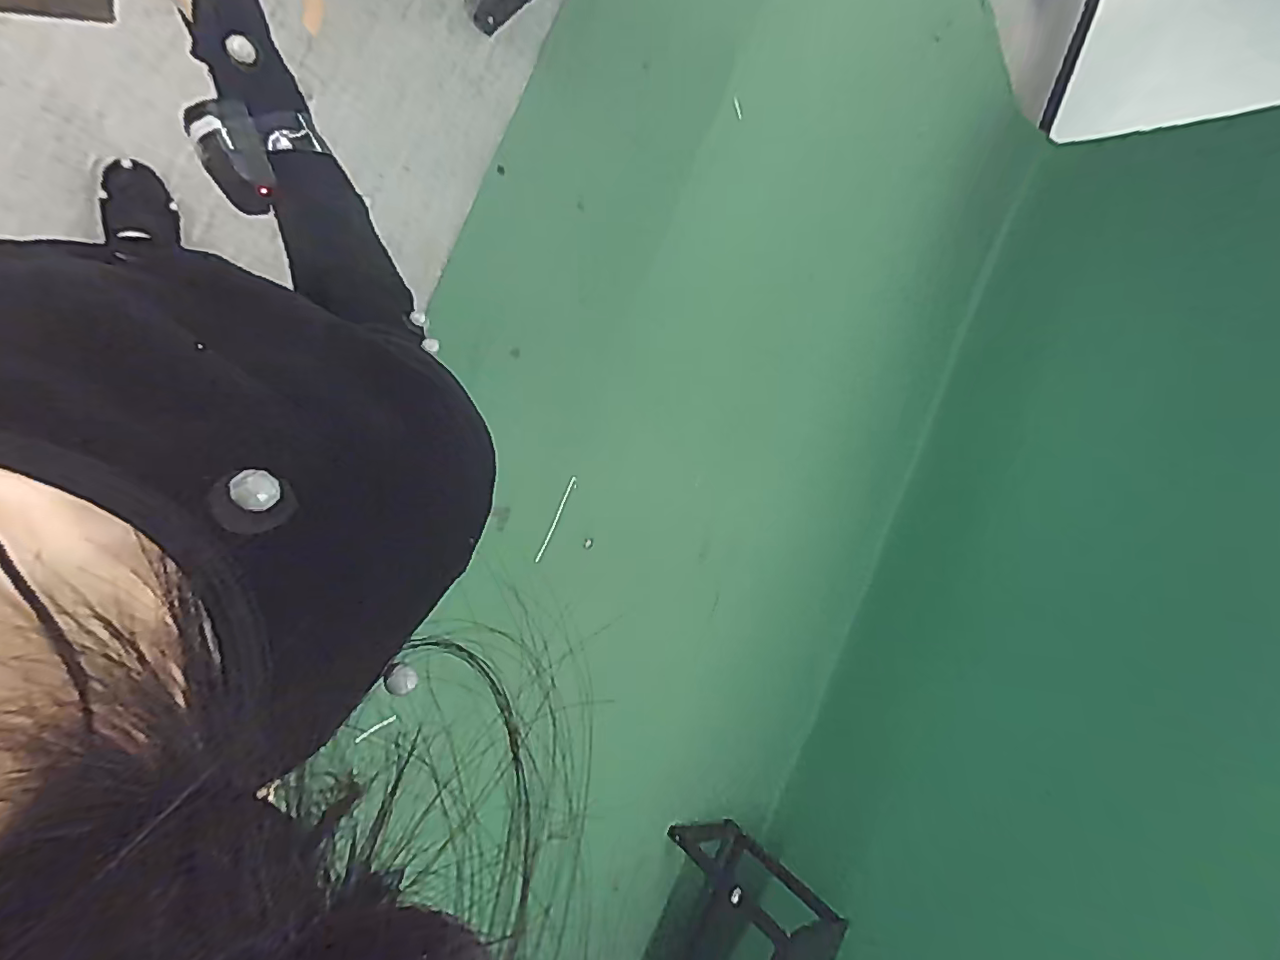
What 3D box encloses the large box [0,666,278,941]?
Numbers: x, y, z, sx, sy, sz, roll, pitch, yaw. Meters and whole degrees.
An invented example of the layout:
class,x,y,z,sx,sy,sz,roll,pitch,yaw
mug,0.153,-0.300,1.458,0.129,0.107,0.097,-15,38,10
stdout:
class,x,y,z,sx,sy,sz,roll,pitch,yaw
large box,-1.051,0.632,1.149,0.408,0.320,0.320,6,100,-43
